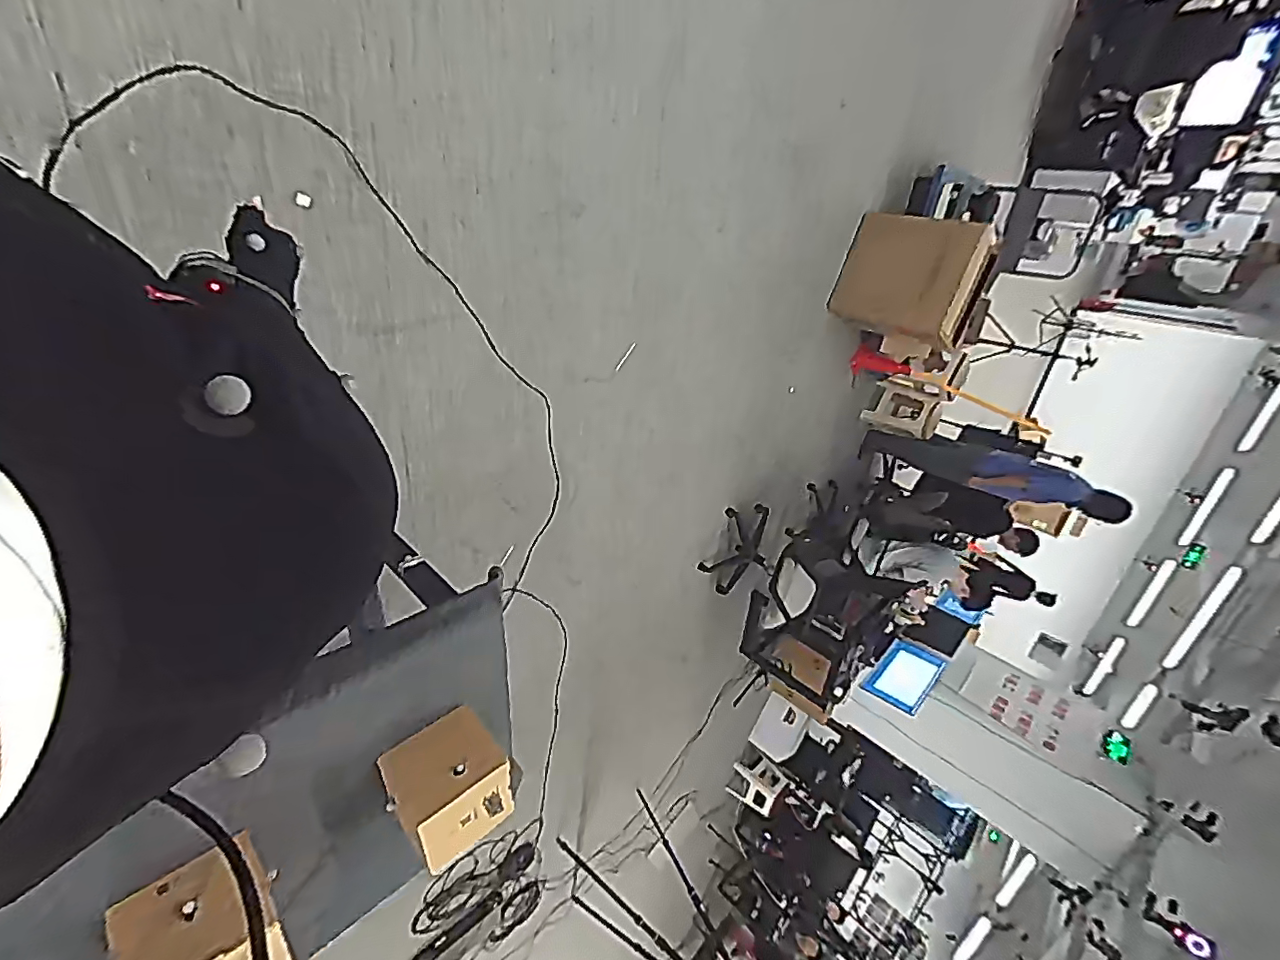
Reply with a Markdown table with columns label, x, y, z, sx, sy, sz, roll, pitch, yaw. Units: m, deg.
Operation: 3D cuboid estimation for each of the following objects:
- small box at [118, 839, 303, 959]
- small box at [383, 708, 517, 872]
| label | x | y | z | sx | sy | sz | roll | pitch | yaw |
| --- | --- | --- | --- | --- | --- | --- | --- | --- | --- |
| small box | -0.618 | 0.673 | 0.786 | 0.168 | 0.176 | 0.179 | -21 | 126 | -42 |
| small box | -0.358 | 0.578 | 1.032 | 0.179 | 0.176 | 0.168 | -24 | 129 | -38 |
